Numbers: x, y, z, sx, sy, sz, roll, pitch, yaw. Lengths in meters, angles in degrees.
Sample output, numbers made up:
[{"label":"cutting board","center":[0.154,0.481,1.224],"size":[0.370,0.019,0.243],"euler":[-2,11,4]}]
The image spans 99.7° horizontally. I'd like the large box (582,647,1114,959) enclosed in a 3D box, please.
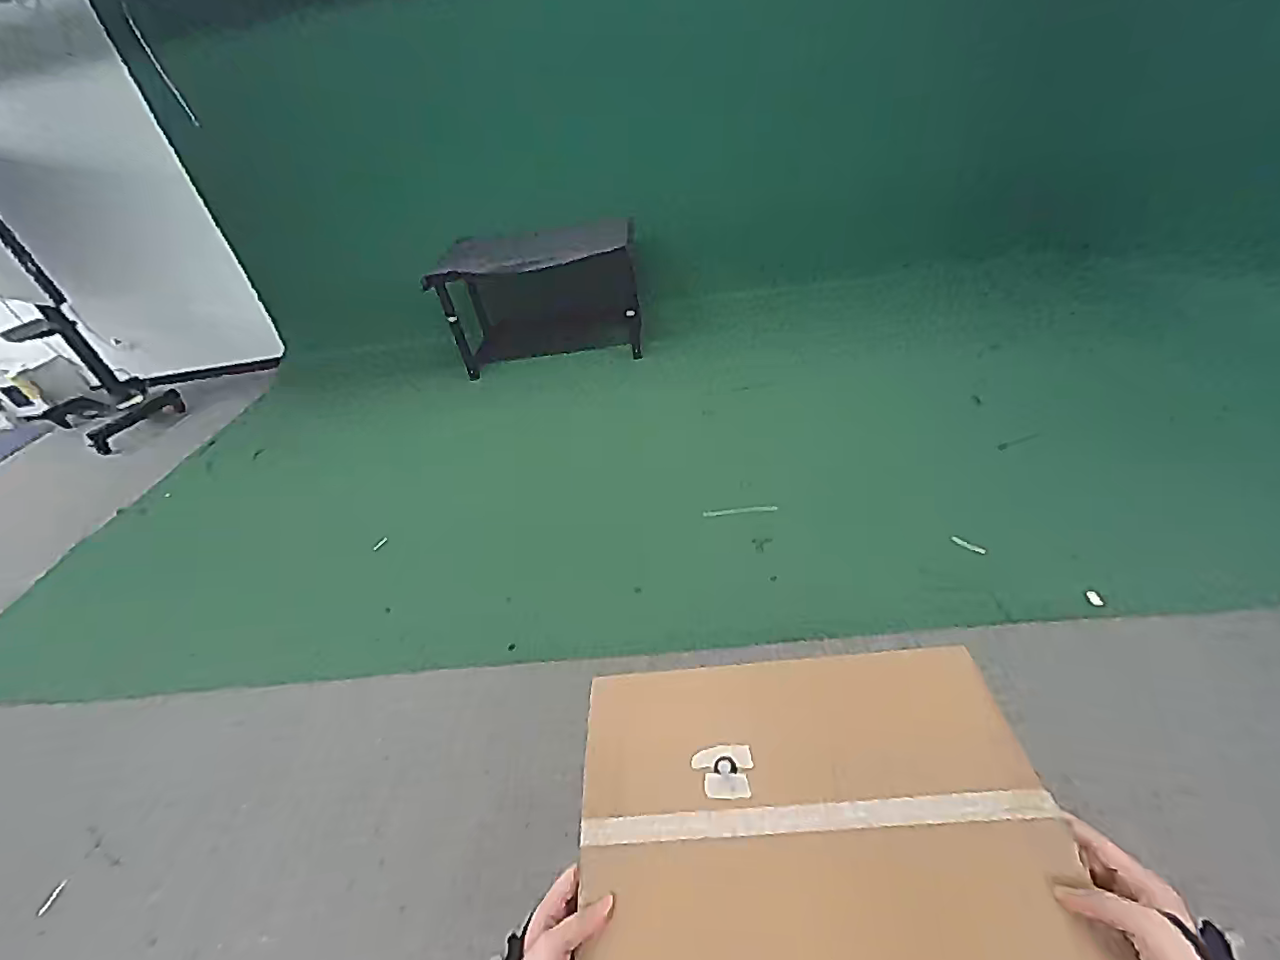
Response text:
[{"label":"large box","center":[0.174,0.419,0.583],"size":[0.408,0.320,0.320],"euler":[-9,39,6]}]
